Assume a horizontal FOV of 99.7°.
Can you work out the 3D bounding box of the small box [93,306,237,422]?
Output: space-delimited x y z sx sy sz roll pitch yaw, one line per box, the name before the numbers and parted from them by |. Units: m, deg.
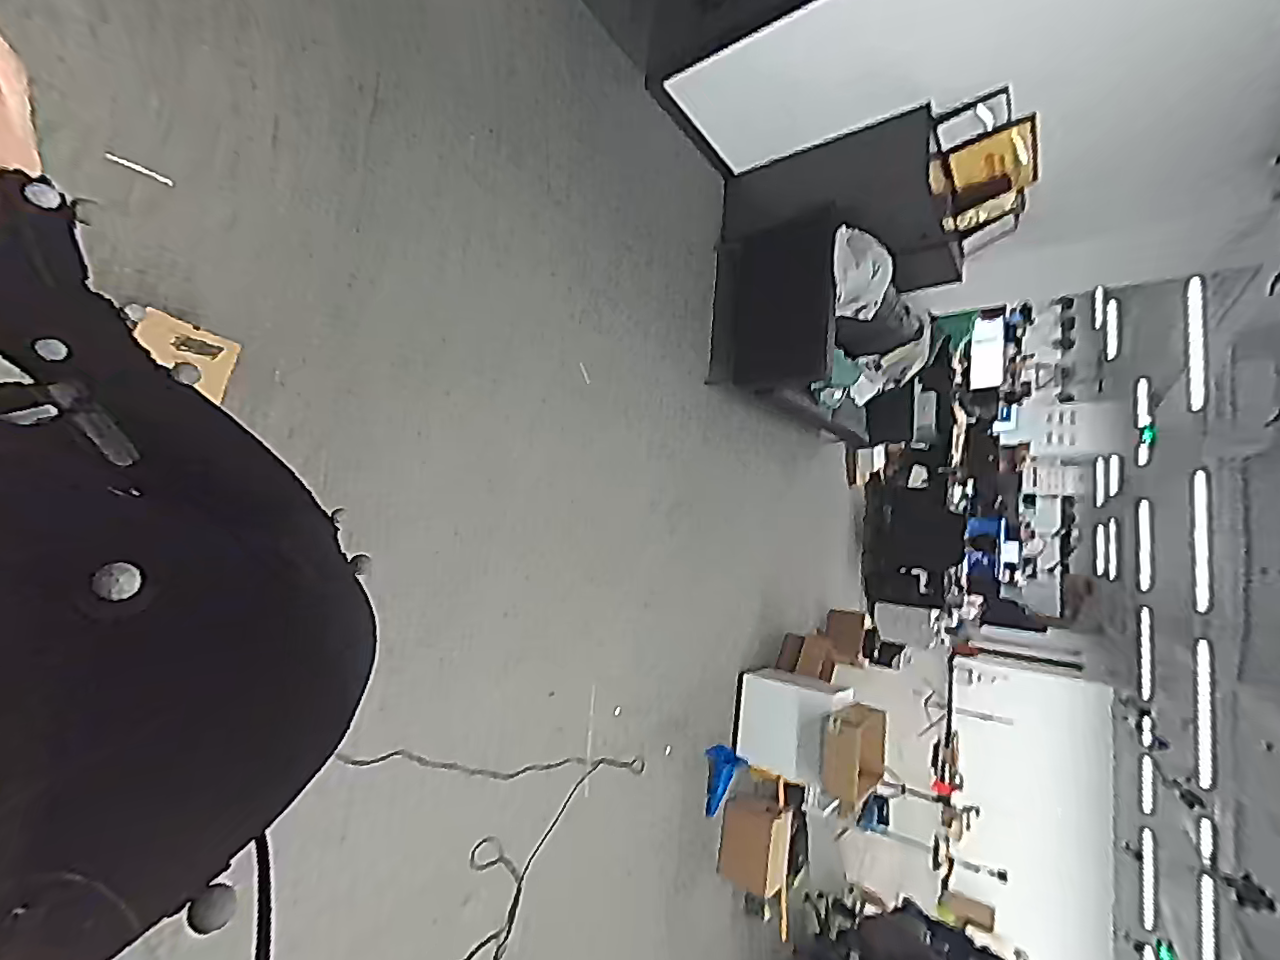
small box | -0.988 -0.231 1.123 0.168 0.176 0.179 27 69 -50
